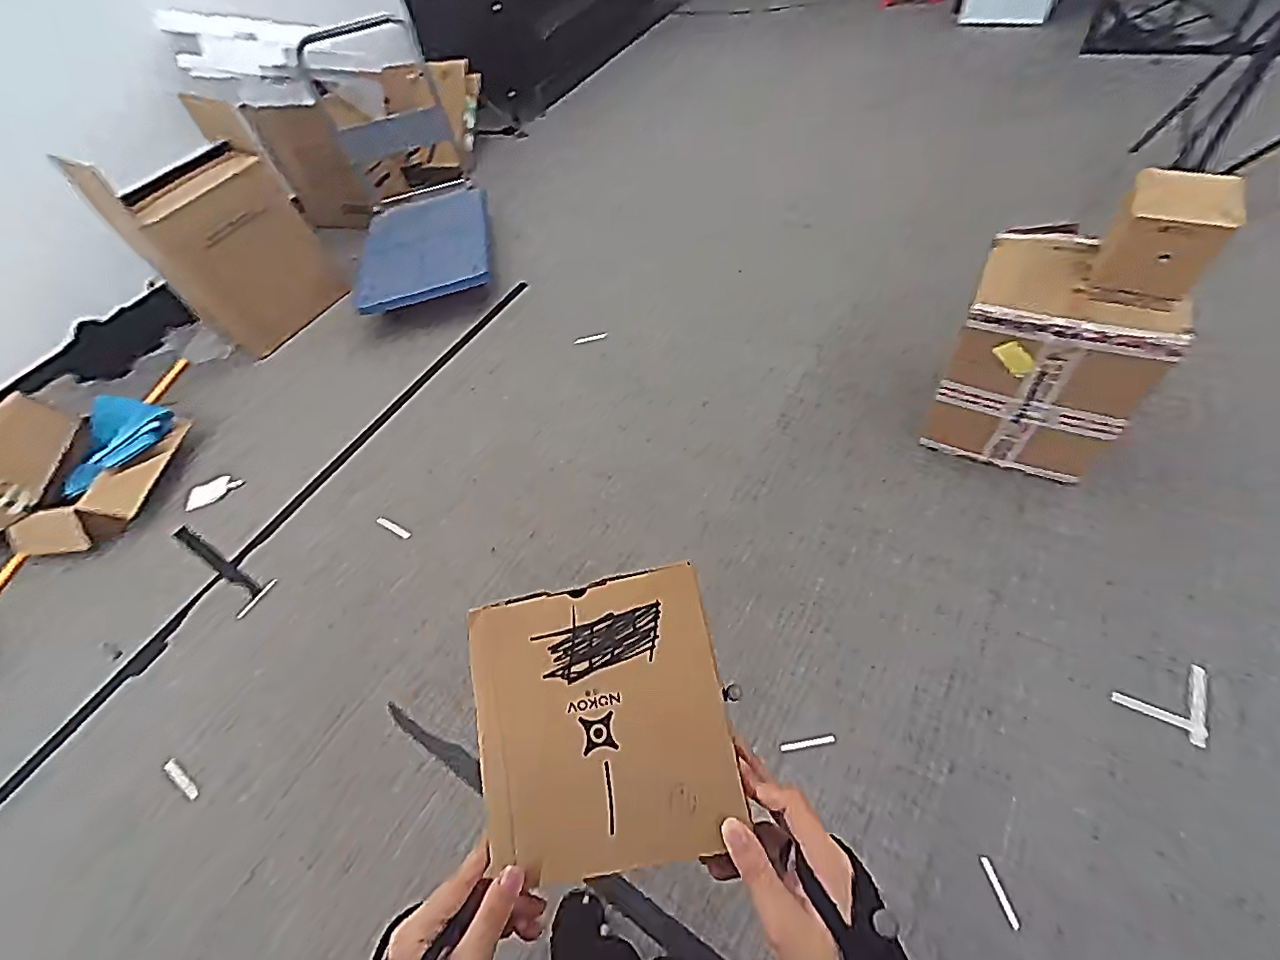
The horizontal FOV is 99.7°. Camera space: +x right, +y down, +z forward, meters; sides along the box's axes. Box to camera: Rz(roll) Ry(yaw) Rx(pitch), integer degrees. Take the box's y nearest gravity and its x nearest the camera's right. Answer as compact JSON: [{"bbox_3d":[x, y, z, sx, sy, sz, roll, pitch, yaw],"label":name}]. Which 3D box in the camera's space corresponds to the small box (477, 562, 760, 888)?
[{"bbox_3d":[-0.013,0.177,0.428,0.168,0.176,0.179,-13,72,4],"label":"small box"}]

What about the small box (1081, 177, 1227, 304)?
[{"bbox_3d":[1.068,-0.503,1.132,0.168,0.176,0.179,20,63,21],"label":"small box"}]
